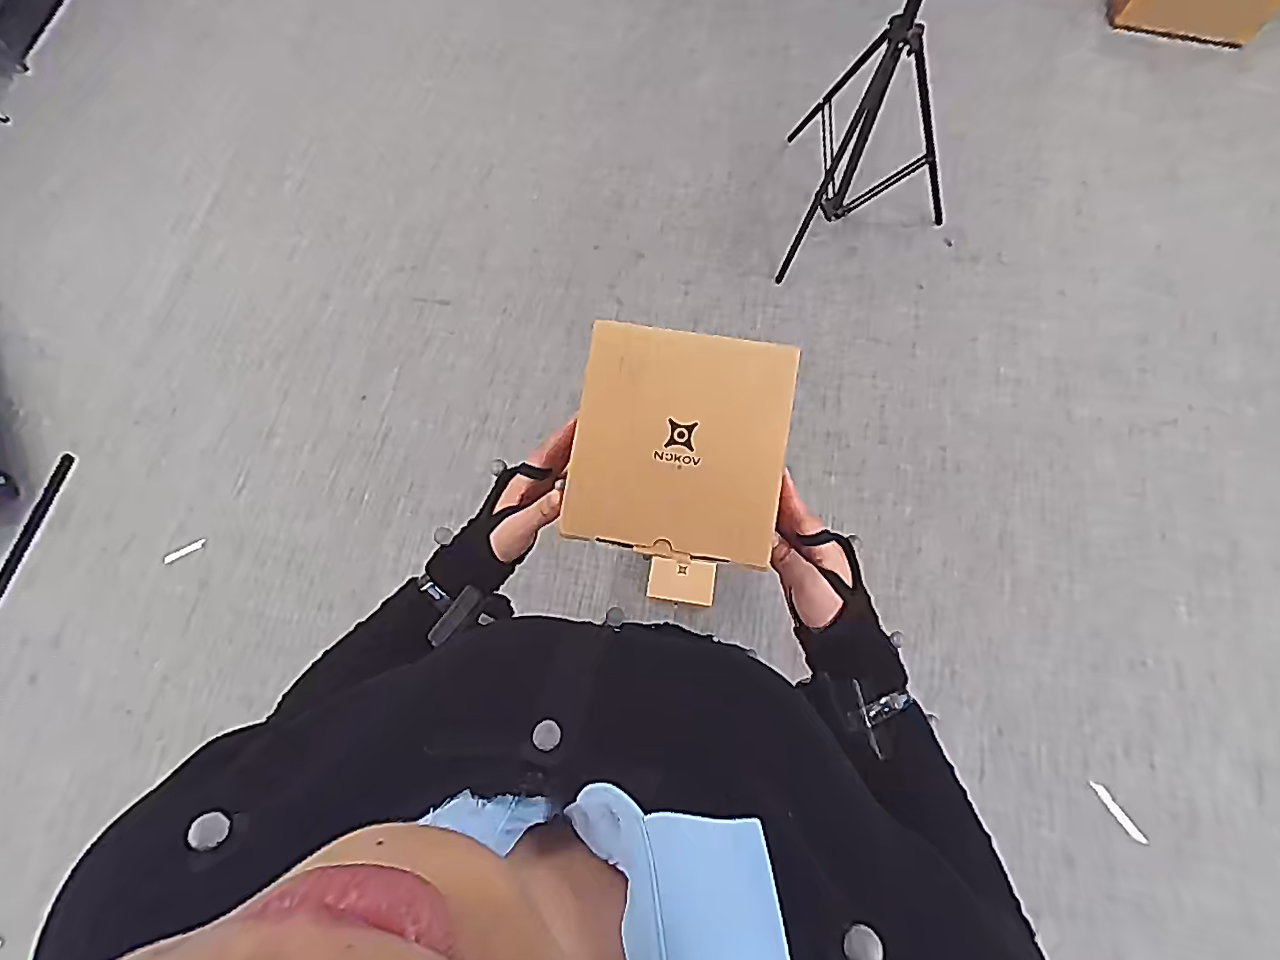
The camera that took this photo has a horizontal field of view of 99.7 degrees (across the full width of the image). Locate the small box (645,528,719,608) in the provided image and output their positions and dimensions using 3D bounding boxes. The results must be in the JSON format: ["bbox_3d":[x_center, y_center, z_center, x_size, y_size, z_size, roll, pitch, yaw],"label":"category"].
[{"bbox_3d":[0.112,0.240,1.437,0.168,0.176,0.179,8,74,5],"label":"small box"}]
